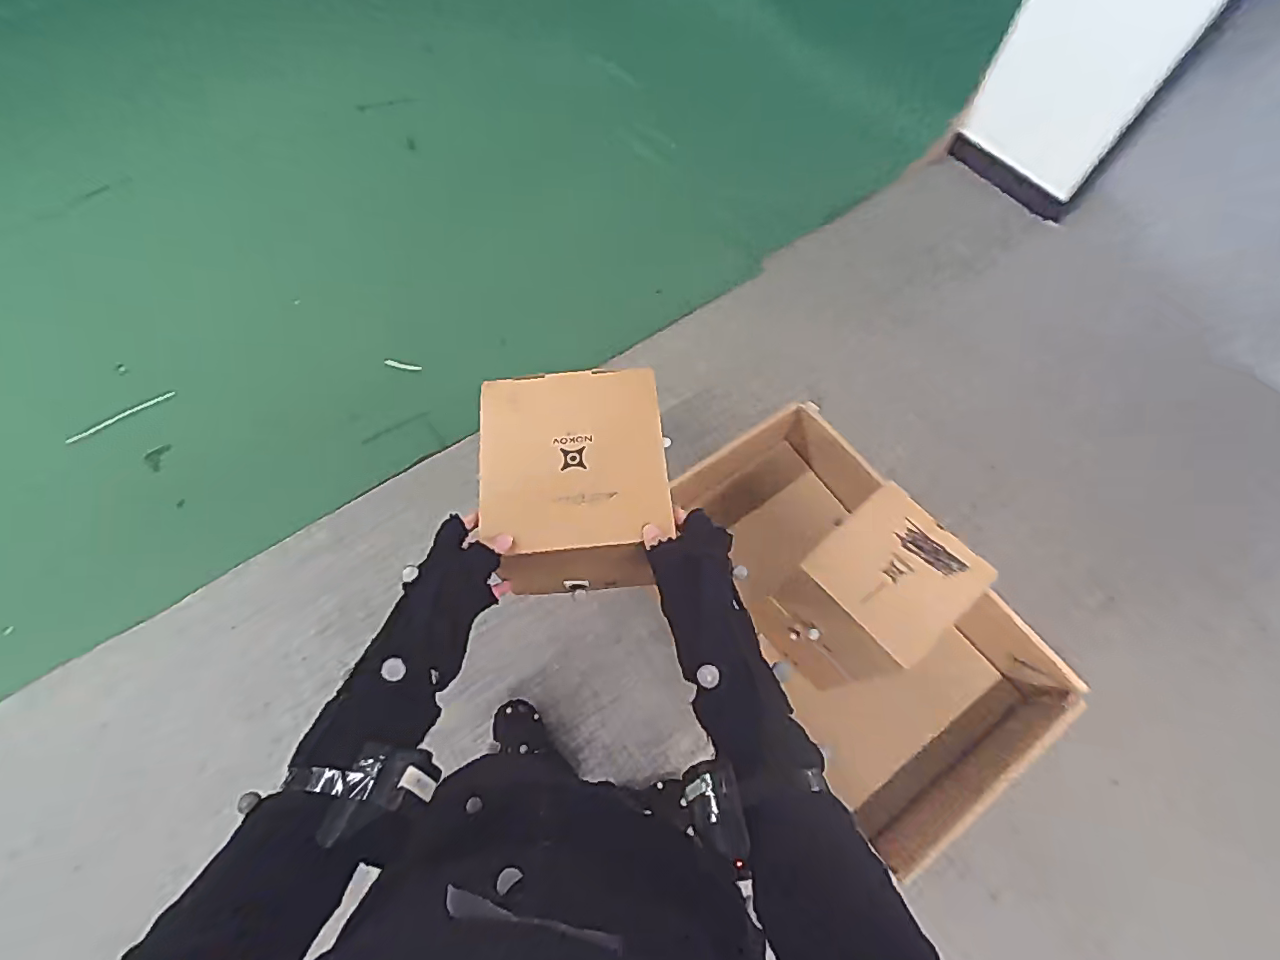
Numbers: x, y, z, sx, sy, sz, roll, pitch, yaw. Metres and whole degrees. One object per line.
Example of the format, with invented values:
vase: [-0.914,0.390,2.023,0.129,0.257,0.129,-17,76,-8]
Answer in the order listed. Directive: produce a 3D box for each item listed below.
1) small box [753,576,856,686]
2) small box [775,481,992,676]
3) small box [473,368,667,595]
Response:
small box: [0.306,0.207,0.873,0.179,0.176,0.168,-38,69,-16]
small box: [0.307,0.137,0.724,0.179,0.176,0.168,-38,70,-15]
small box: [-0.068,0.009,0.559,0.168,0.176,0.179,-7,68,-3]
